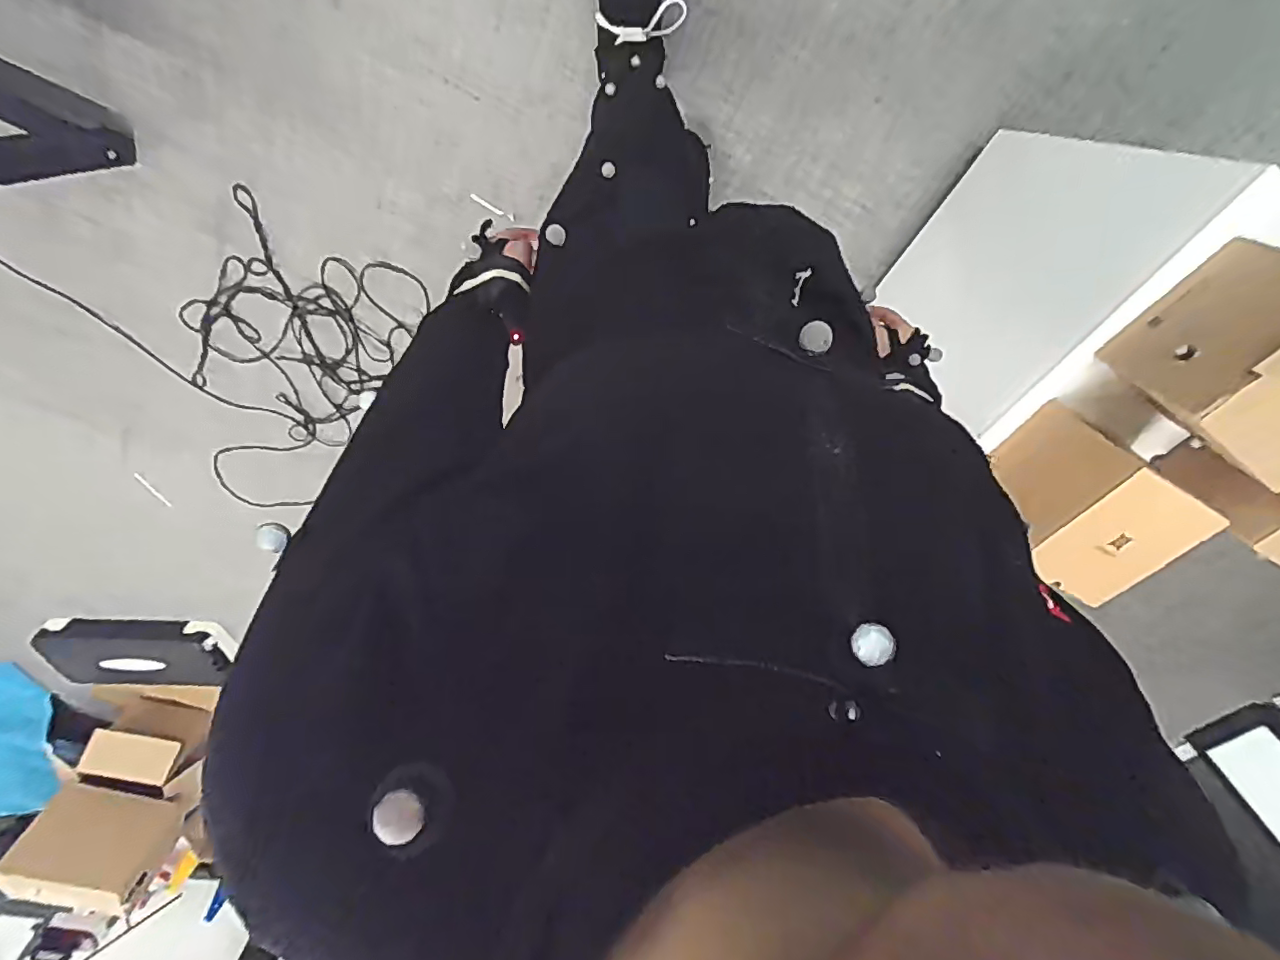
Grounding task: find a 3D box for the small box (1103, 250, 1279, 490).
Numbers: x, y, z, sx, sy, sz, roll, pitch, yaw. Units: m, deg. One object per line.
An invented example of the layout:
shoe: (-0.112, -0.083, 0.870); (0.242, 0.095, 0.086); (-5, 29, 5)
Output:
small box: (0.678, -0.127, 0.594); (0.179, 0.176, 0.168); (26, 124, -18)
